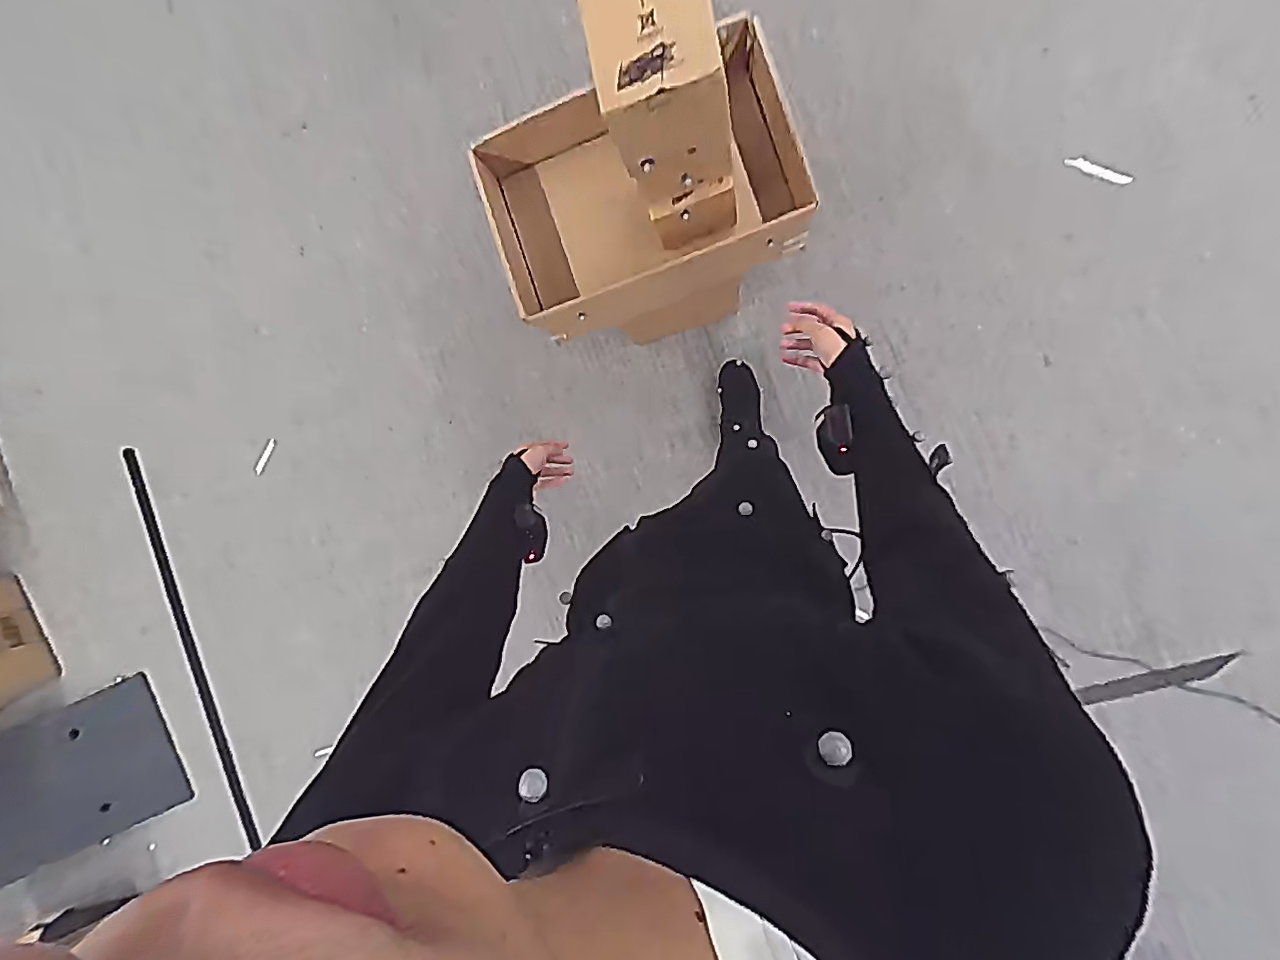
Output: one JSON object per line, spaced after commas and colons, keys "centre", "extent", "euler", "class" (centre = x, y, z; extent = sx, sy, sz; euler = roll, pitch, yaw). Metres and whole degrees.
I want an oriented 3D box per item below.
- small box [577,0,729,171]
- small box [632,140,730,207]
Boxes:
{"centre": [0.028, -0.572, 0.766], "extent": [0.168, 0.176, 0.179], "euler": [-11, 90, 13], "class": "small box"}
{"centre": [0.051, -0.611, 0.928], "extent": [0.168, 0.176, 0.179], "euler": [-17, 90, 13], "class": "small box"}
